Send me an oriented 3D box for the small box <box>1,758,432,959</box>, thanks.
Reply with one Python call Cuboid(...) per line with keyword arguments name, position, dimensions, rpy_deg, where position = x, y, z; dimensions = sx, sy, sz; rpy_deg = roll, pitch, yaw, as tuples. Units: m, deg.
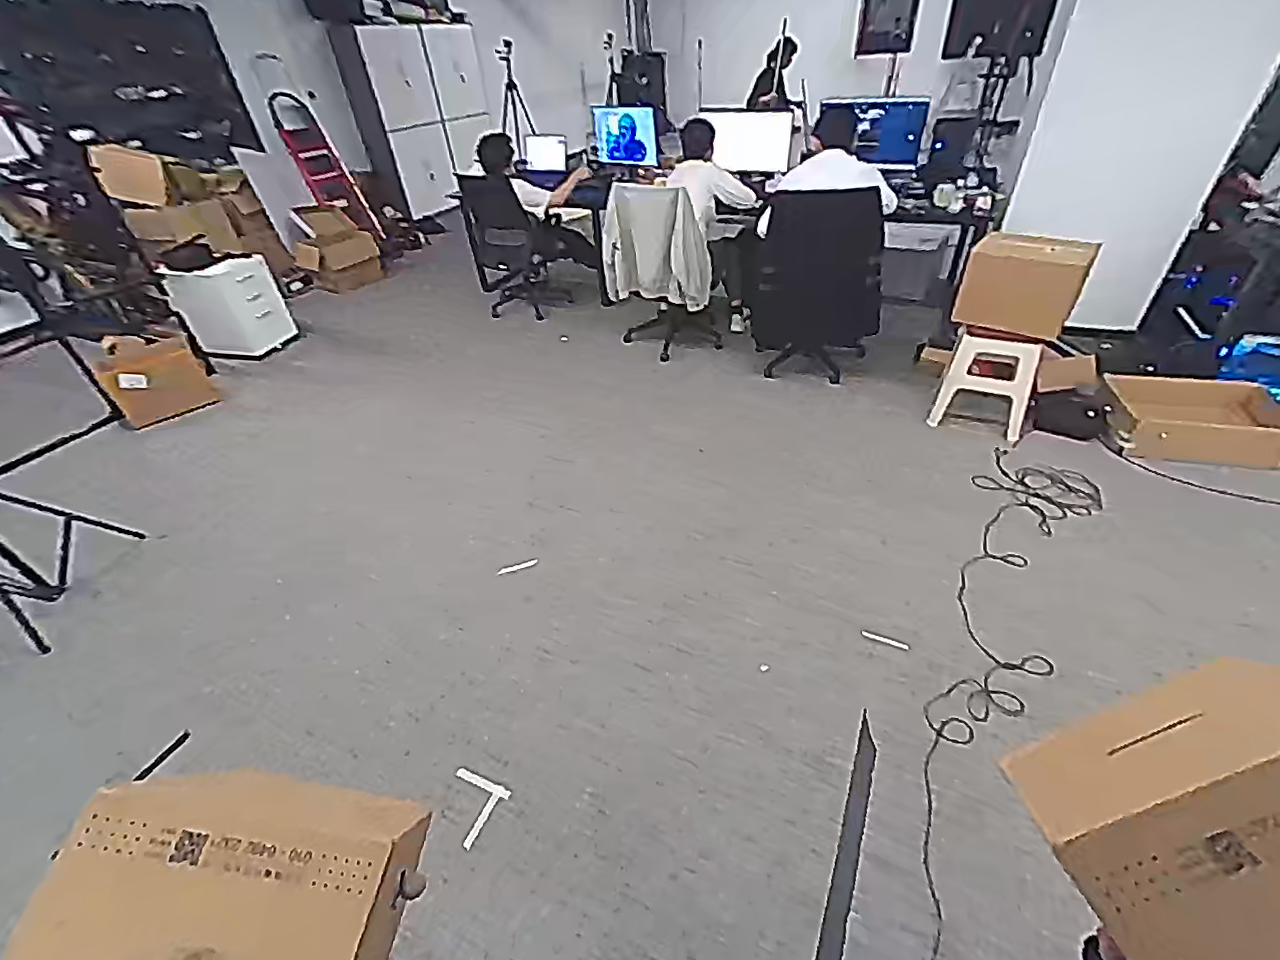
Cuboid(name="small box", position=(-0.249, 0.281, 0.339), dimensions=(0.168, 0.179, 0.176), rpy_deg=(15, 62, -5))
